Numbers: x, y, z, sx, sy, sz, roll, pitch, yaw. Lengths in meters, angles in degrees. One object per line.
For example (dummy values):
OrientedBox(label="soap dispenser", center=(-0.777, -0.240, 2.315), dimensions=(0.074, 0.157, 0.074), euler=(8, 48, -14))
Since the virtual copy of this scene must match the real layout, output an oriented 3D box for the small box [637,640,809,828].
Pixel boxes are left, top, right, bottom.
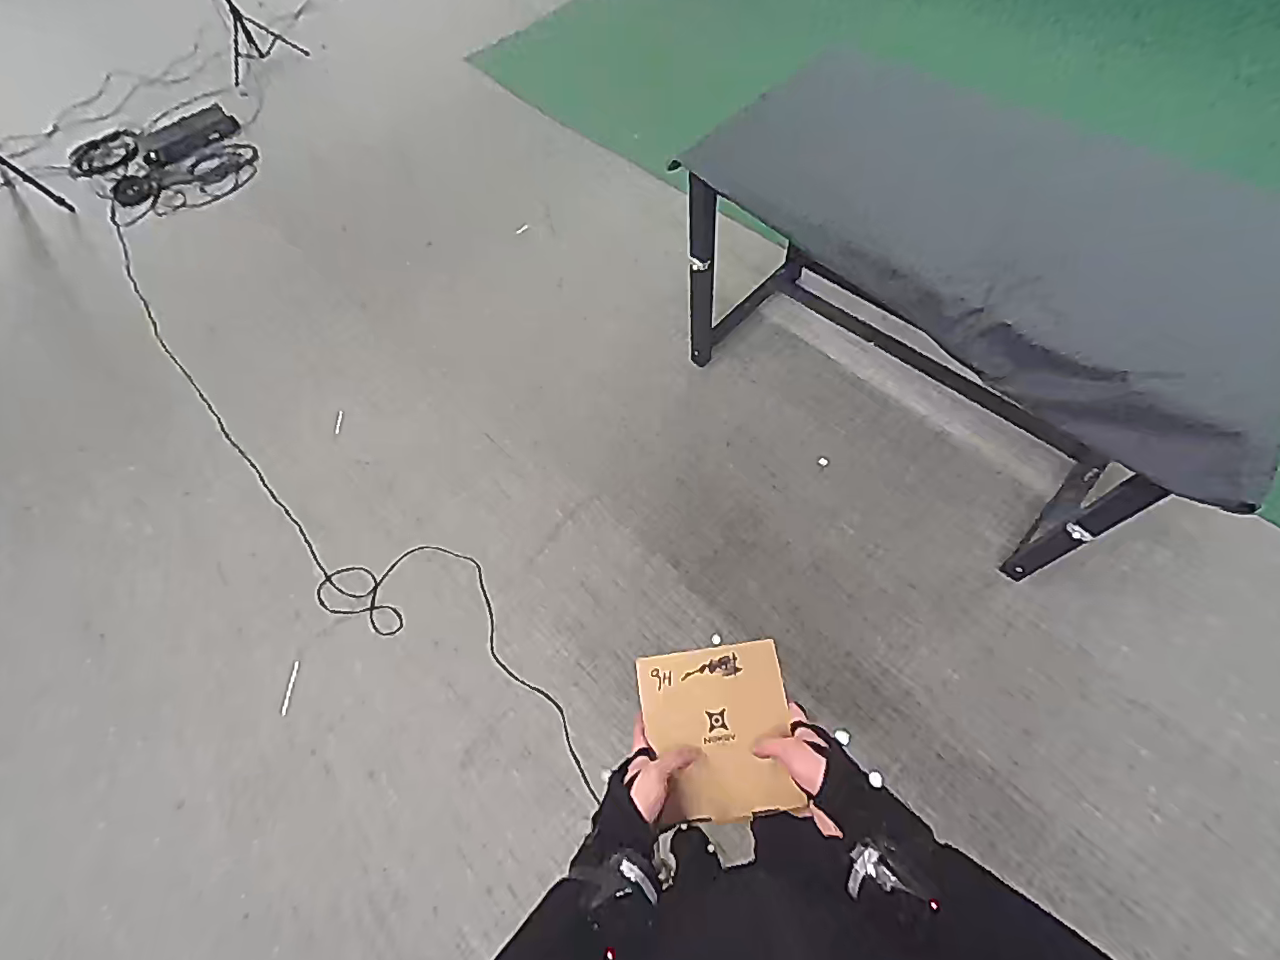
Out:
OrientedBox(label="small box", center=(0.094, 0.300, 0.670), dimensions=(0.168, 0.176, 0.179), euler=(-10, 71, 1))
